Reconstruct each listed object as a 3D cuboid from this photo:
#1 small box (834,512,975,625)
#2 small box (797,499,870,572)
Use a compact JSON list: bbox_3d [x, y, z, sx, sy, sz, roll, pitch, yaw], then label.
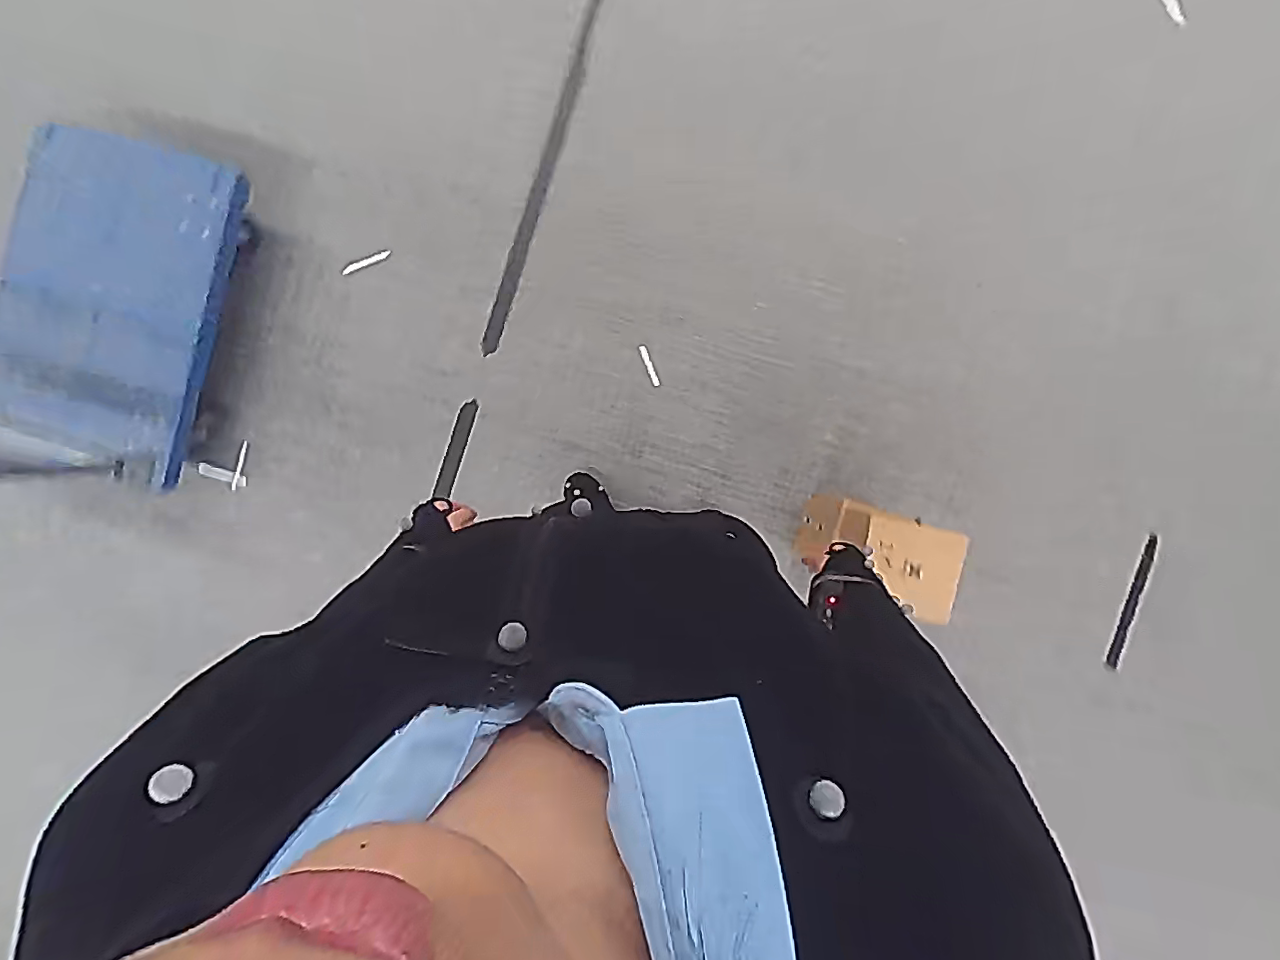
[{"bbox_3d":[0.499,0.161,1.047,0.179,0.176,0.168,13,92,5],"label":"small box"},{"bbox_3d":[0.520,0.148,1.376,0.179,0.176,0.168,17,92,4],"label":"small box"}]
